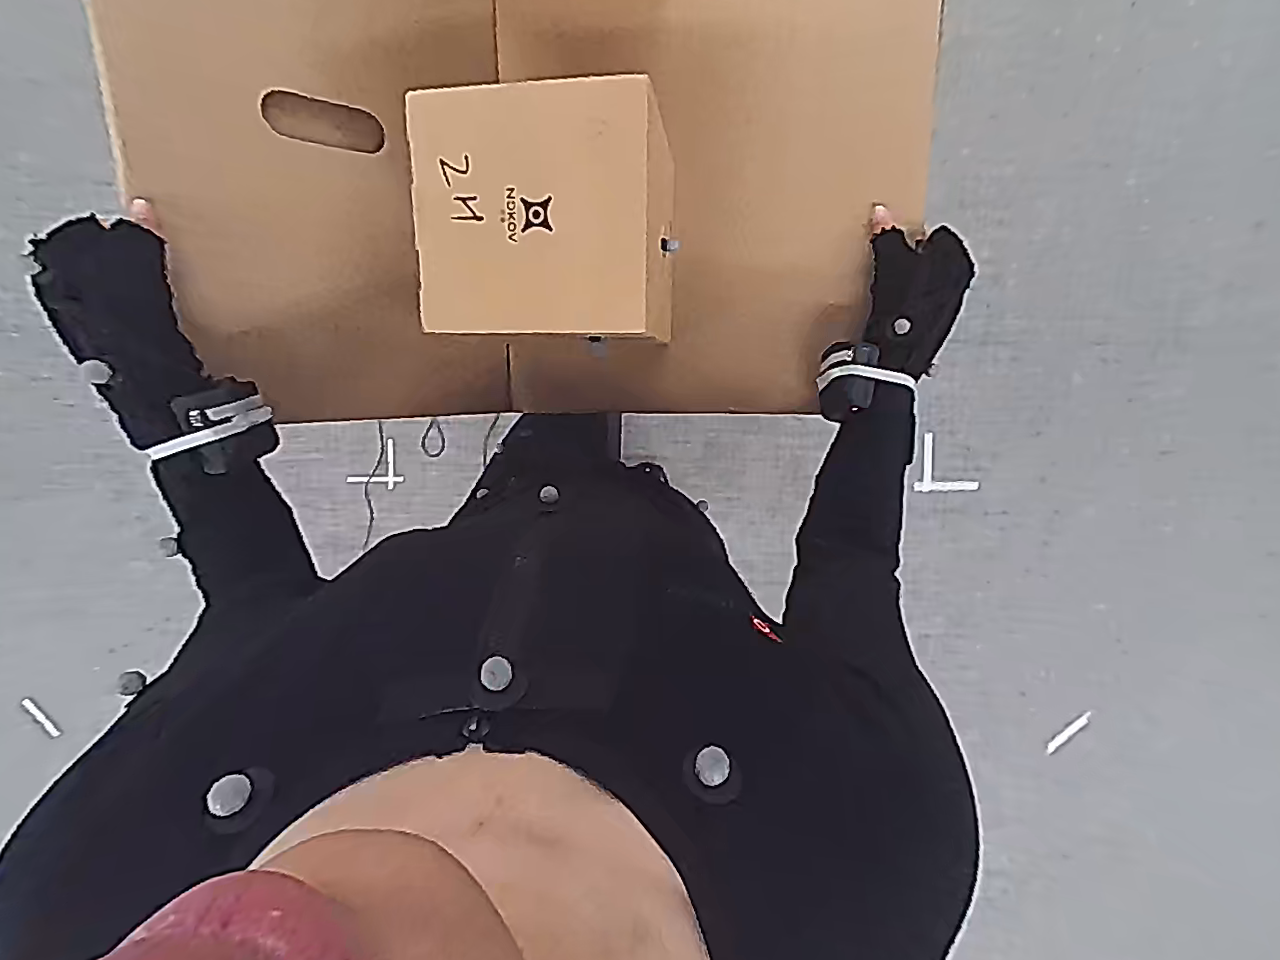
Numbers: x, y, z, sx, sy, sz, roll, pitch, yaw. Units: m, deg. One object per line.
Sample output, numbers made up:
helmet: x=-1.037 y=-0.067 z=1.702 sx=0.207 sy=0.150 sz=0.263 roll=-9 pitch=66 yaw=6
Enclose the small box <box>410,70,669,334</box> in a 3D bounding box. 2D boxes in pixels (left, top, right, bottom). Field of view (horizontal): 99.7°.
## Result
small box: x=-0.069 y=-0.218 z=0.469 sx=0.179 sy=0.176 sz=0.168 roll=3 pitch=102 yaw=9
